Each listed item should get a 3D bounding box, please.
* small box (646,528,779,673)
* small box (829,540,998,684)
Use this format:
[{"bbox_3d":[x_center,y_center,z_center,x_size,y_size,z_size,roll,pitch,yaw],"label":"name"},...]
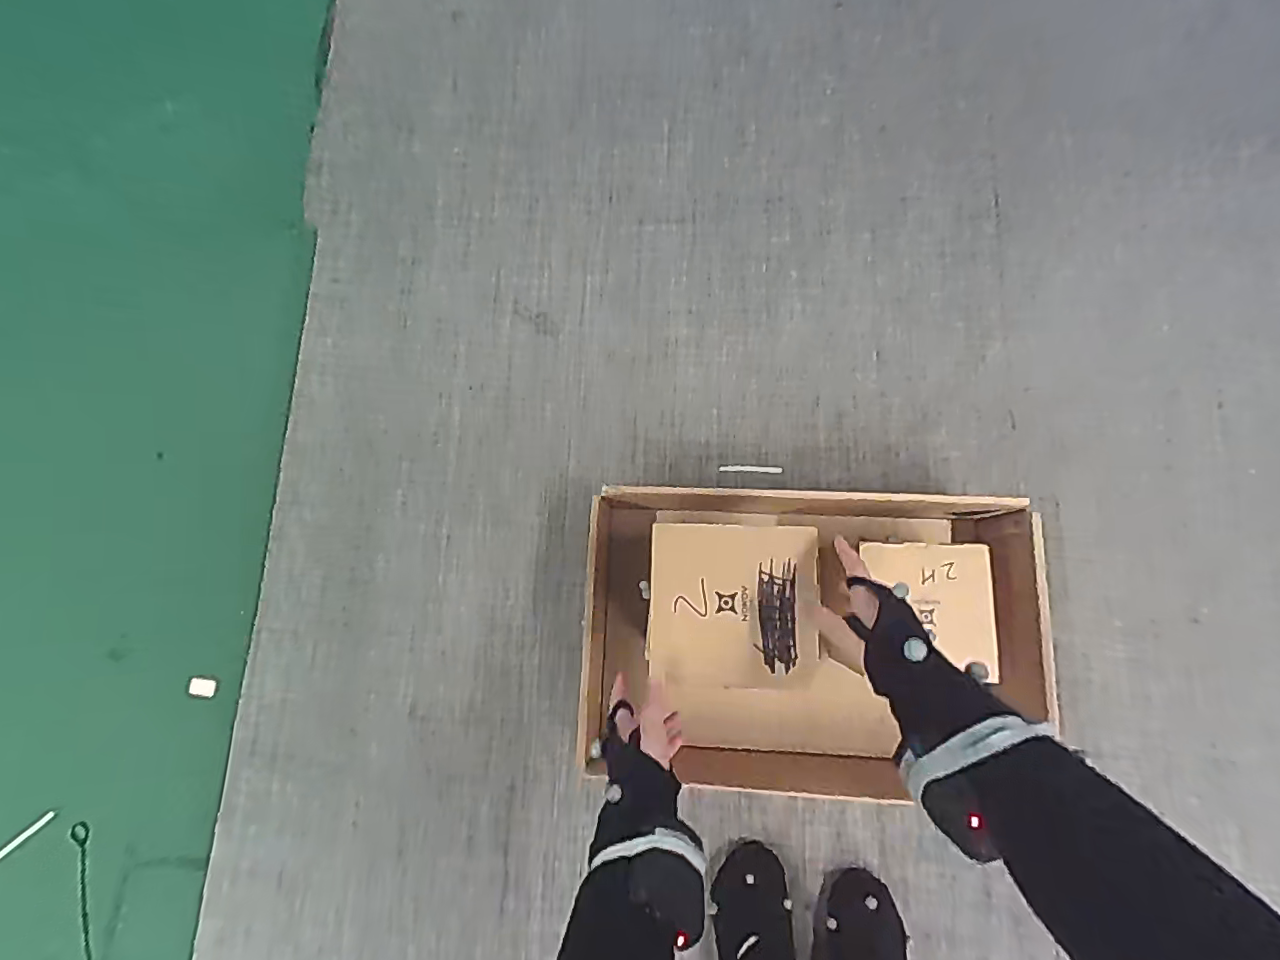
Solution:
[{"bbox_3d":[0.103,0.171,0.796,0.168,0.176,0.179,5,80,4],"label":"small box"},{"bbox_3d":[0.376,0.179,0.772,0.168,0.176,0.179,1,81,5],"label":"small box"}]
